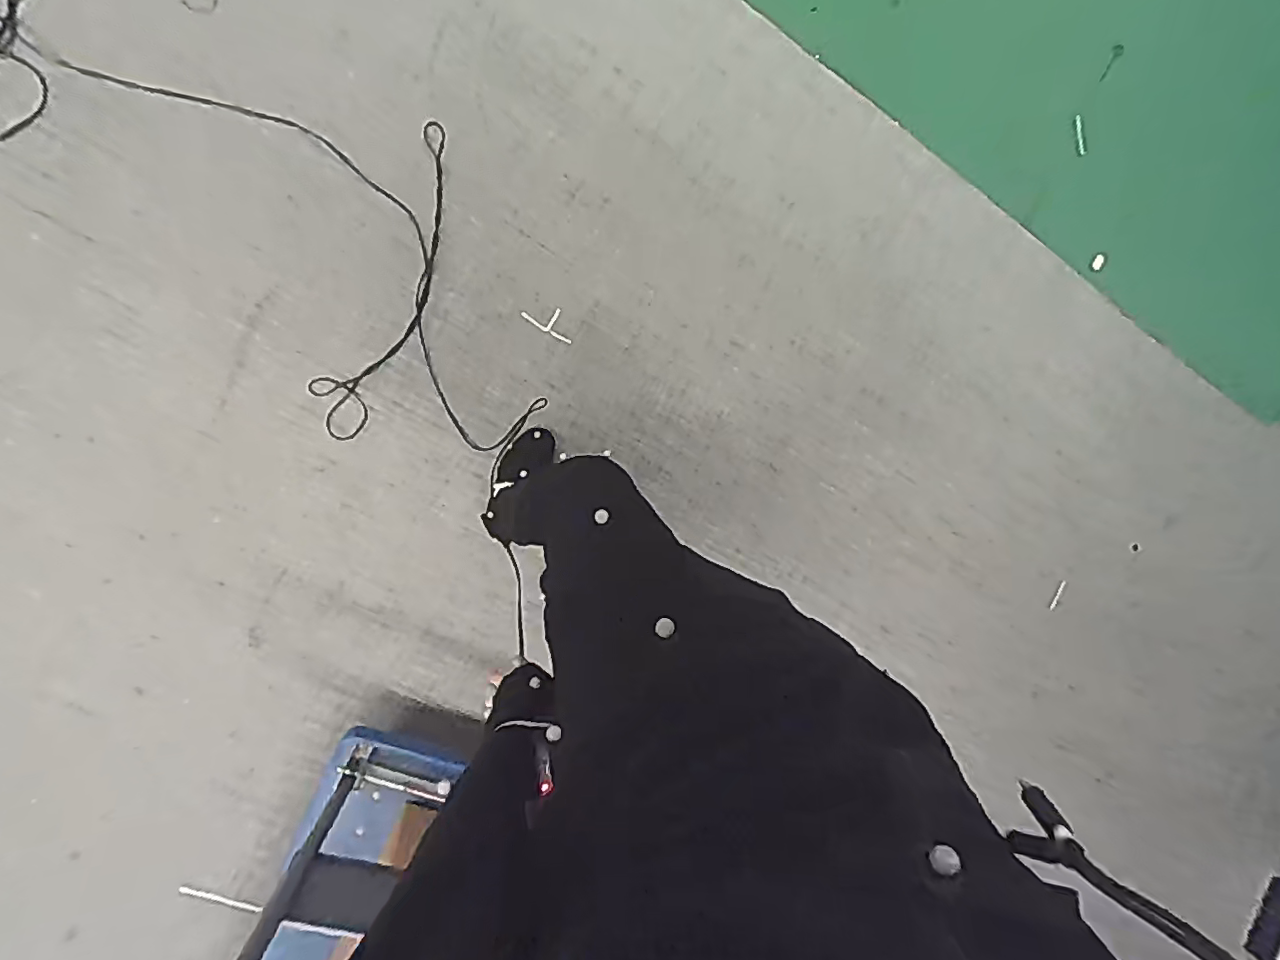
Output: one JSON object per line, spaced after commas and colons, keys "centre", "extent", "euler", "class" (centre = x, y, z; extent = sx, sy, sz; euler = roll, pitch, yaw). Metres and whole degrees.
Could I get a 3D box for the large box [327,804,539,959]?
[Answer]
{"centre": [-0.415, 0.923, 1.021], "extent": [0.320, 0.320, 0.408], "euler": [26, 88, -13], "class": "large box"}
